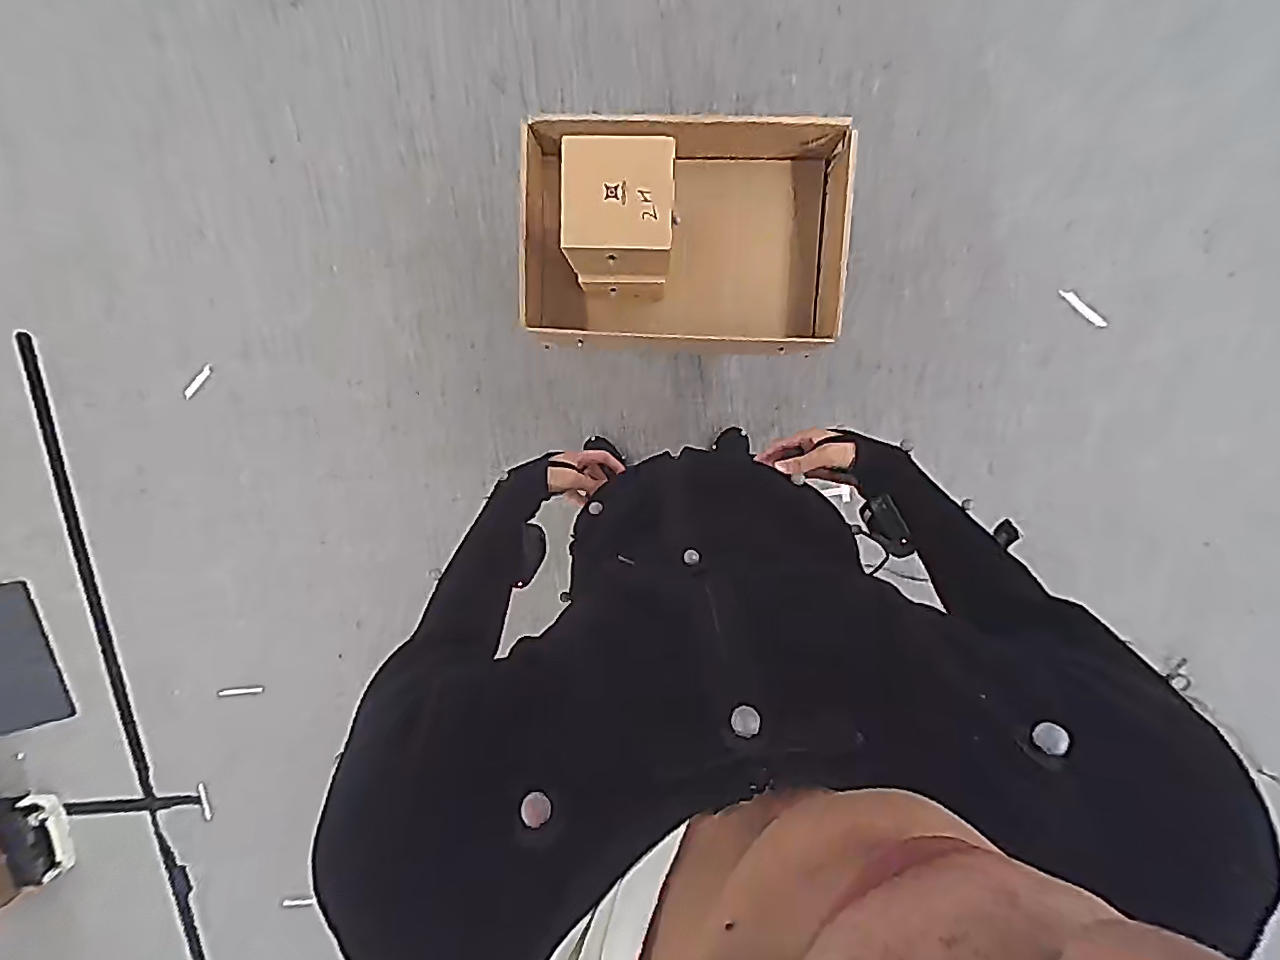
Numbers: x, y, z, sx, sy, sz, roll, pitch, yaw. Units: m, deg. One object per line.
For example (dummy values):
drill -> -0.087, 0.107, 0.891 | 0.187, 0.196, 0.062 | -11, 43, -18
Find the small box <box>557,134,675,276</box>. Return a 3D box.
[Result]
small box -> -0.035, -0.446, 0.899 | 0.179, 0.176, 0.168 | 2, 98, 1

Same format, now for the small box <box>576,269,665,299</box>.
small box -> -0.032, -0.459, 1.064 | 0.168, 0.176, 0.179 | 1, 97, 2
